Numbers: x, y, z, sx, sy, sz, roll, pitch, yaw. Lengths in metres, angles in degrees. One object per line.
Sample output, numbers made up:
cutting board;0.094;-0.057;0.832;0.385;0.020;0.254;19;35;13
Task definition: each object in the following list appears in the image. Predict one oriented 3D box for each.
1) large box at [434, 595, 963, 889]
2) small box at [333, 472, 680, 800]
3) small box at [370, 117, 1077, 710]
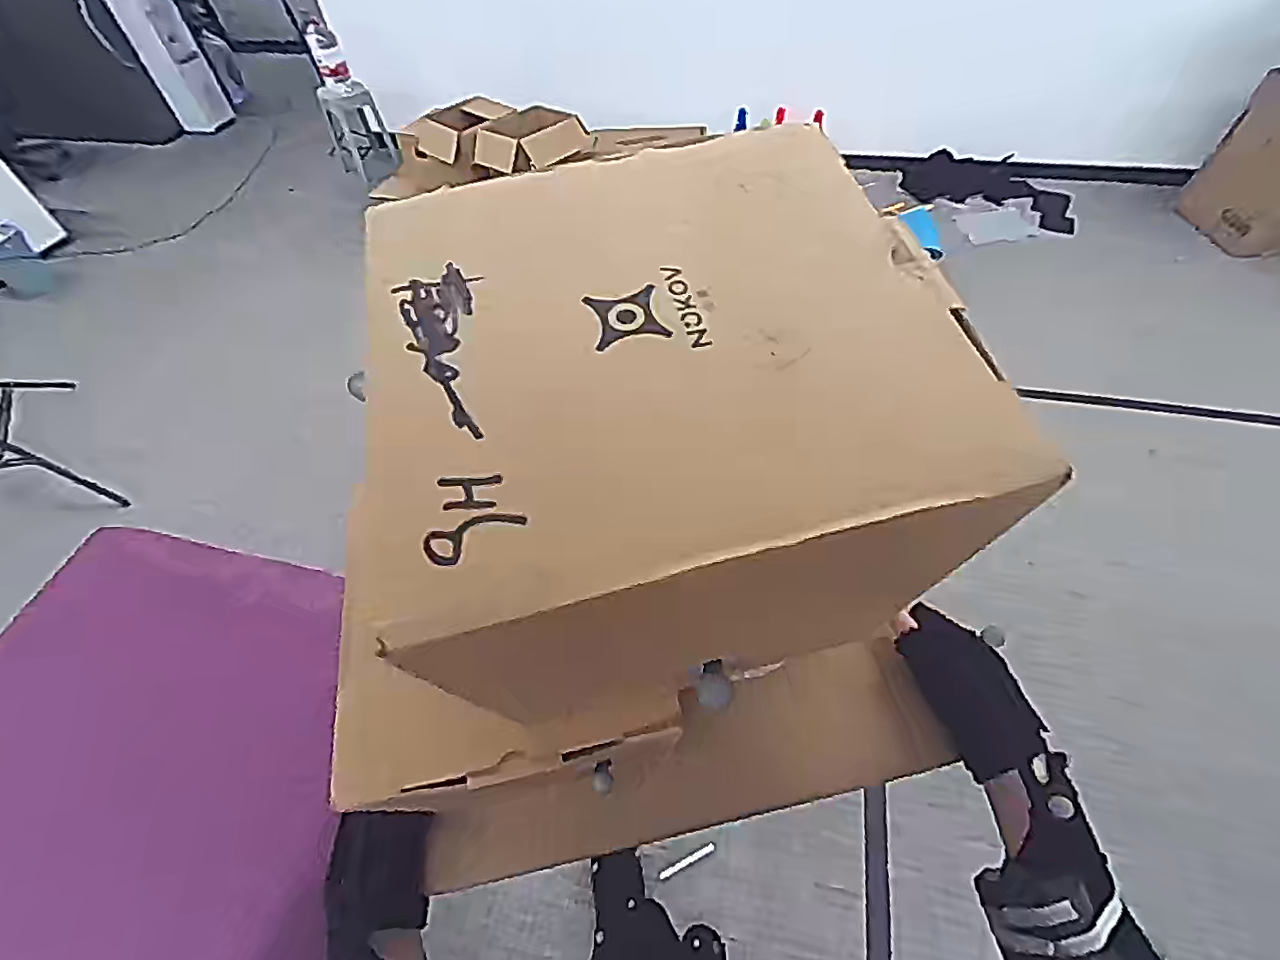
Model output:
large box;0.021;0.187;0.587;0.408;0.320;0.320;-11;60;-6
small box;-0.075;0.098;0.359;0.168;0.176;0.179;-10;58;-7
small box;0.010;-0.014;0.233;0.179;0.176;0.168;-13;60;-5
